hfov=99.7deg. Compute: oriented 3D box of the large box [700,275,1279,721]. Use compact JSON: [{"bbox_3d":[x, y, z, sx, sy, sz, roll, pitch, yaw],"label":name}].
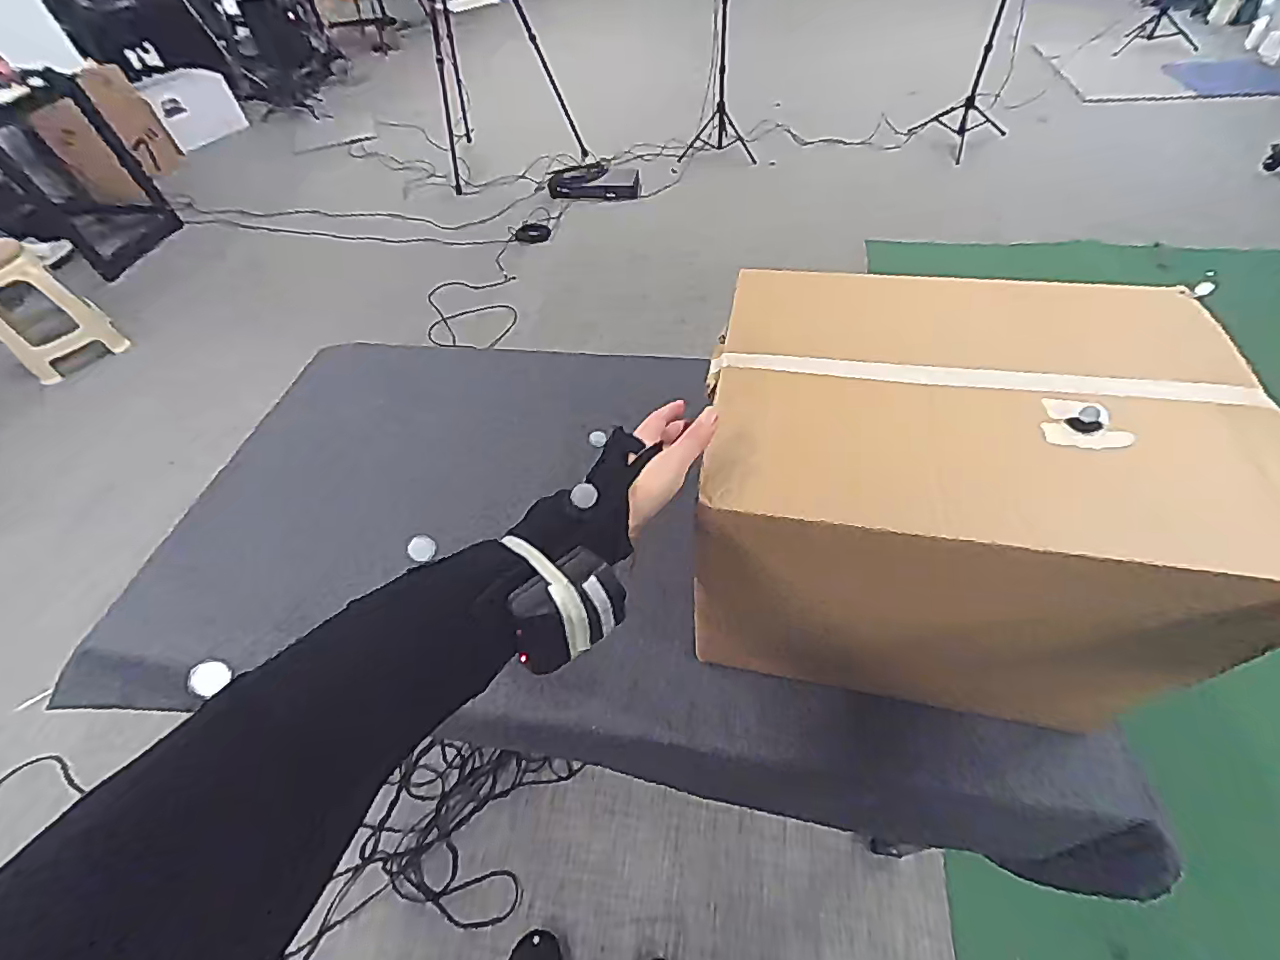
[{"bbox_3d":[0.281,0.016,0.560,0.408,0.320,0.320,8,53,10],"label":"large box"}]
